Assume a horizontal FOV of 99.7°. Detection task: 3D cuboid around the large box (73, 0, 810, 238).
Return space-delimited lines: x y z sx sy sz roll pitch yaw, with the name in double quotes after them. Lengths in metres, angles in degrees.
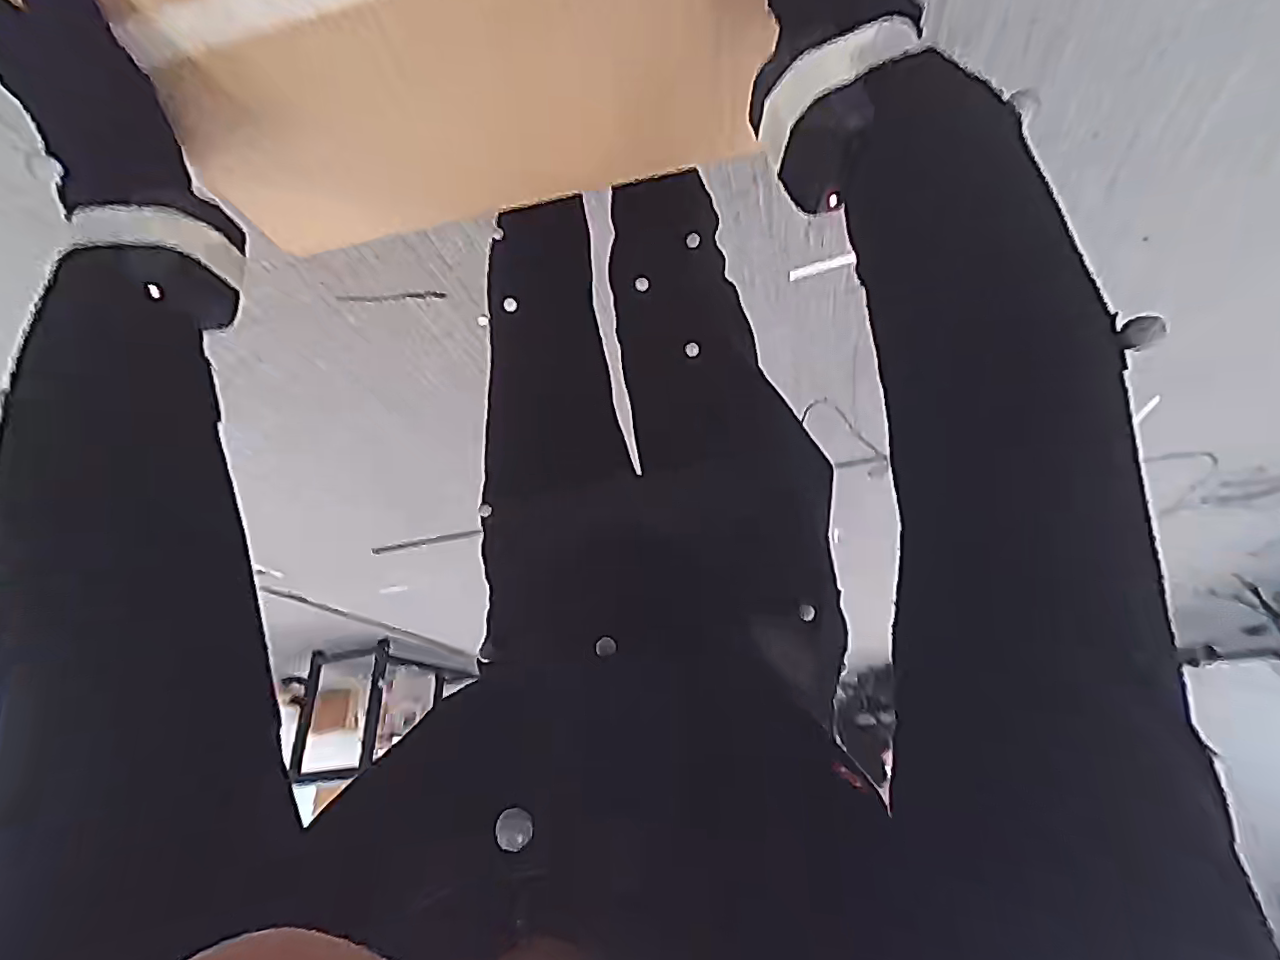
-0.122 -0.417 0.330 0.408 0.320 0.320 -9 160 7 "large box"
